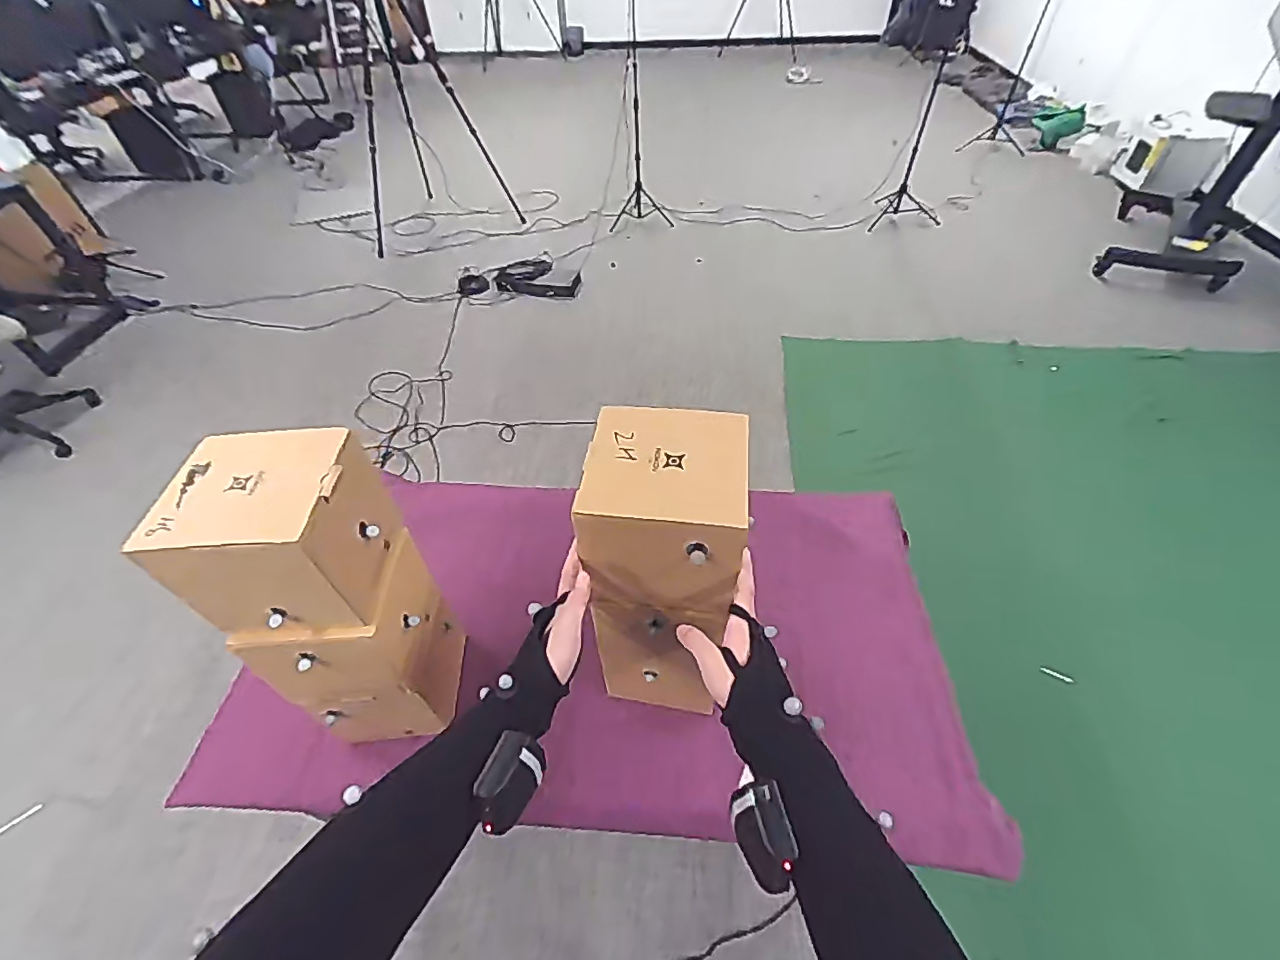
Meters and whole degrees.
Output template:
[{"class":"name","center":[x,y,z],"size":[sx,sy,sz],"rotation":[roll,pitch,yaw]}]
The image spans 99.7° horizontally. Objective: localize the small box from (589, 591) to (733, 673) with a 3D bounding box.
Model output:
[{"class":"small box","center":[0.039,0.152,0.756],"size":[0.179,0.176,0.168],"rotation":[7,49,8]}]

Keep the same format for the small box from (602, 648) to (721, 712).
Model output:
[{"class":"small box","center":[0.046,0.258,0.880],"size":[0.179,0.176,0.168],"rotation":[8,49,8]}]

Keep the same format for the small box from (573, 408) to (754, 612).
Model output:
[{"class":"small box","center":[0.034,0.038,0.630],"size":[0.179,0.176,0.168],"rotation":[5,48,7]}]

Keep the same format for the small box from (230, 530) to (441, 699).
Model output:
[{"class":"small box","center":[-0.393,0.187,0.741],"size":[0.179,0.176,0.168],"rotation":[-3,47,0]}]

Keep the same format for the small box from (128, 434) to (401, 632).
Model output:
[{"class":"small box","center":[-0.407,0.065,0.631],"size":[0.179,0.176,0.168],"rotation":[-2,47,0]}]
